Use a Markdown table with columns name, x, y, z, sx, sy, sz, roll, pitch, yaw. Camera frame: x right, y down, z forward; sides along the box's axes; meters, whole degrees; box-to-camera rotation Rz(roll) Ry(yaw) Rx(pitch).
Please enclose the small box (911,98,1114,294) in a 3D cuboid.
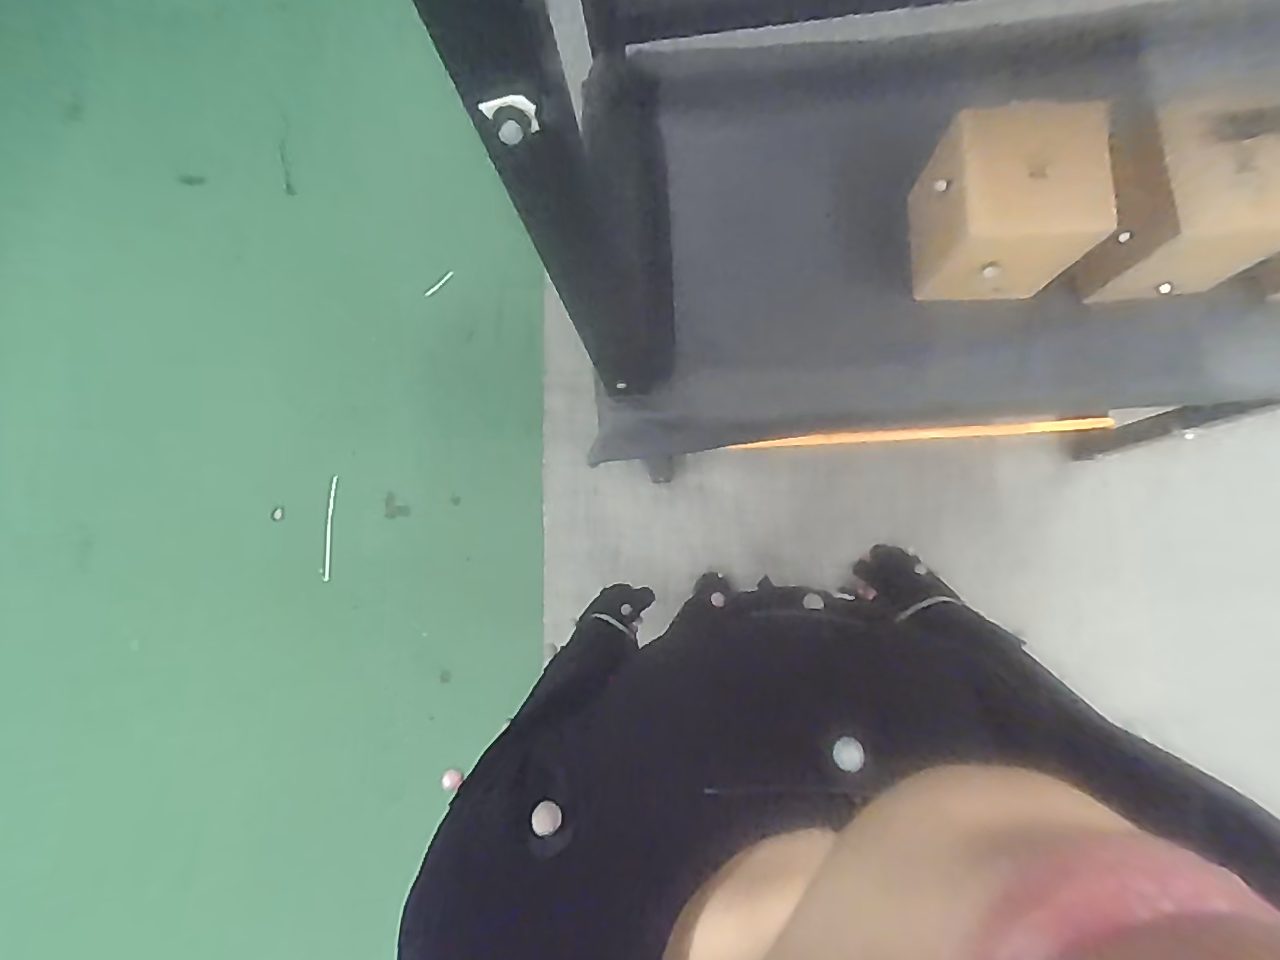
| name | x | y | z | sx | sy | sz | roll | pitch | yaw |
| --- | --- | --- | --- | --- | --- | --- | --- | --- | --- |
| small box | 0.483 | -0.366 | 0.729 | 0.168 | 0.176 | 0.179 | 1 | 81 | 6 |
